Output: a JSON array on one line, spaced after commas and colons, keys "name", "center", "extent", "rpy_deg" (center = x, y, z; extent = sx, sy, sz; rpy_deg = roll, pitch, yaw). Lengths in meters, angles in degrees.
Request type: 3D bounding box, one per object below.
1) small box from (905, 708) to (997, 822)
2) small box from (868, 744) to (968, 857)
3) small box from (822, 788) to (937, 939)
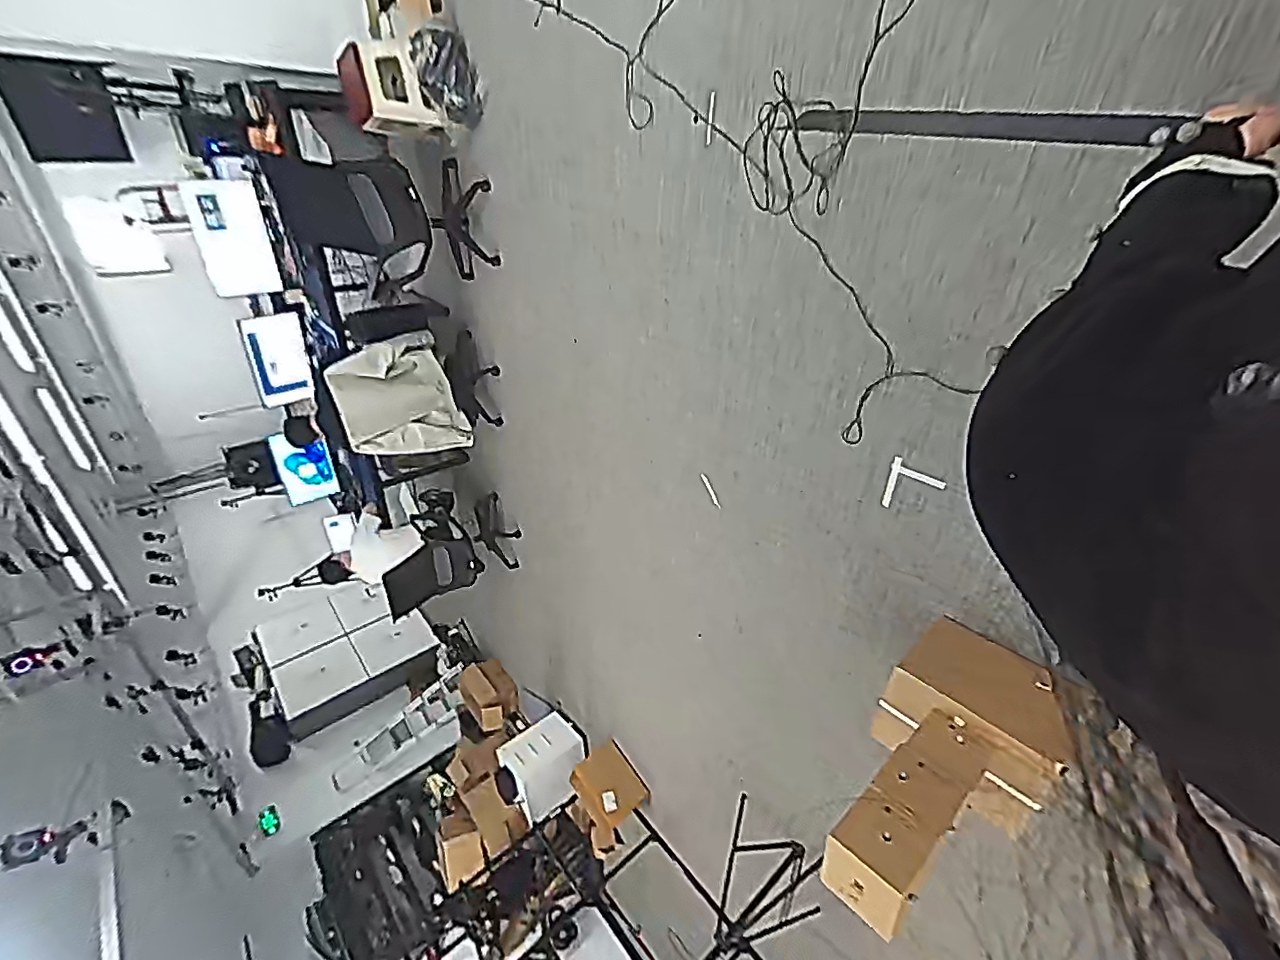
[{"name": "small box", "center": [0.775, 0.730, 1.381], "extent": [0.168, 0.176, 0.179], "rpy_deg": [30, 130, 40]}, {"name": "small box", "center": [0.650, 0.775, 1.288], "extent": [0.168, 0.176, 0.179], "rpy_deg": [29, 131, 42]}, {"name": "small box", "center": [0.528, 0.832, 1.192], "extent": [0.168, 0.176, 0.179], "rpy_deg": [25, 127, 45]}]
